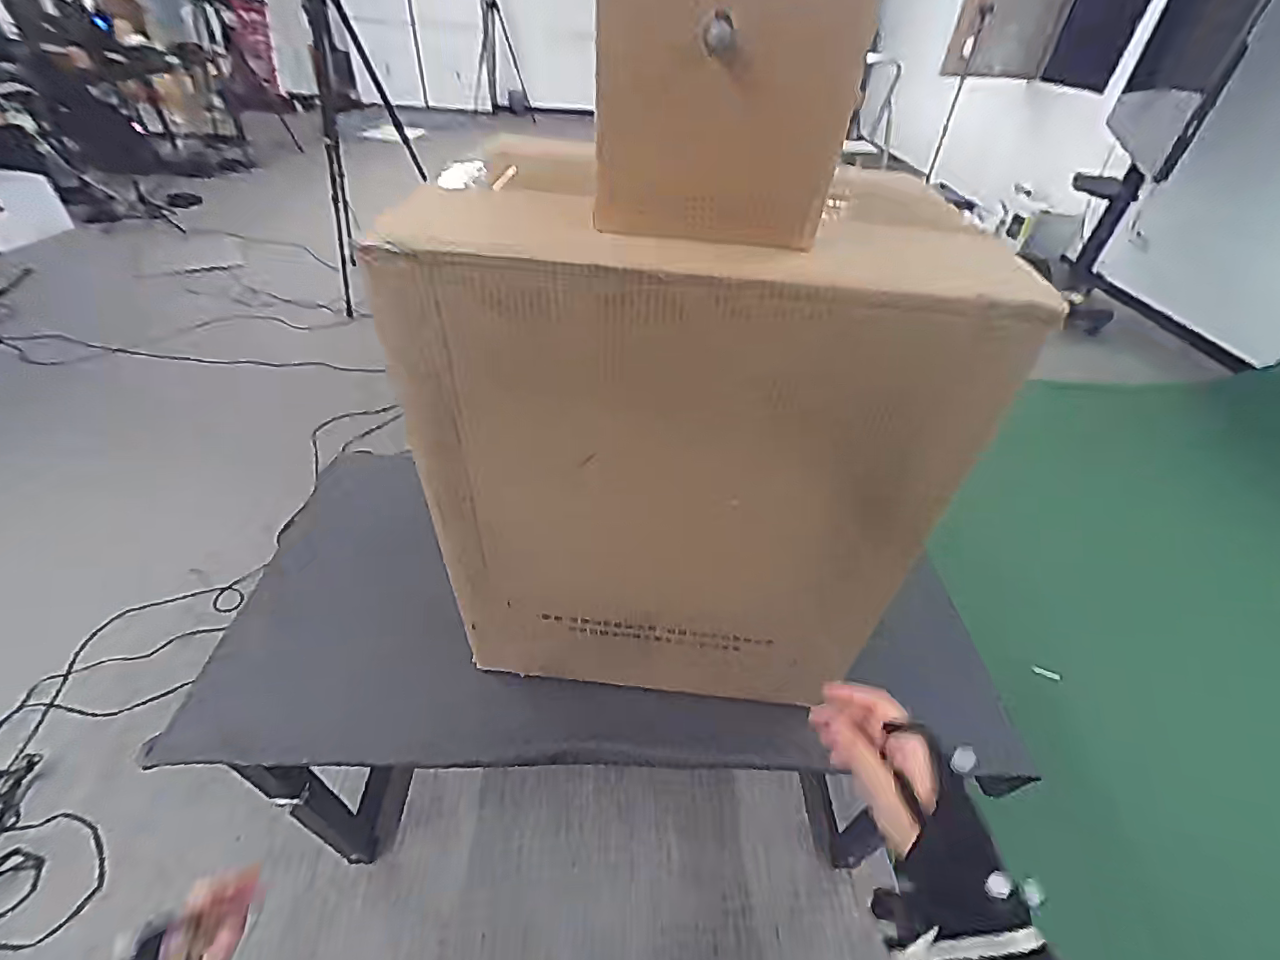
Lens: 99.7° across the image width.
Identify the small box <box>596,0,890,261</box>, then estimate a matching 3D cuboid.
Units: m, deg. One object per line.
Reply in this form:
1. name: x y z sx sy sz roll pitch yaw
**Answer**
1. small box: 0.064 -0.291 0.427 0.179 0.176 0.168 6 45 2
